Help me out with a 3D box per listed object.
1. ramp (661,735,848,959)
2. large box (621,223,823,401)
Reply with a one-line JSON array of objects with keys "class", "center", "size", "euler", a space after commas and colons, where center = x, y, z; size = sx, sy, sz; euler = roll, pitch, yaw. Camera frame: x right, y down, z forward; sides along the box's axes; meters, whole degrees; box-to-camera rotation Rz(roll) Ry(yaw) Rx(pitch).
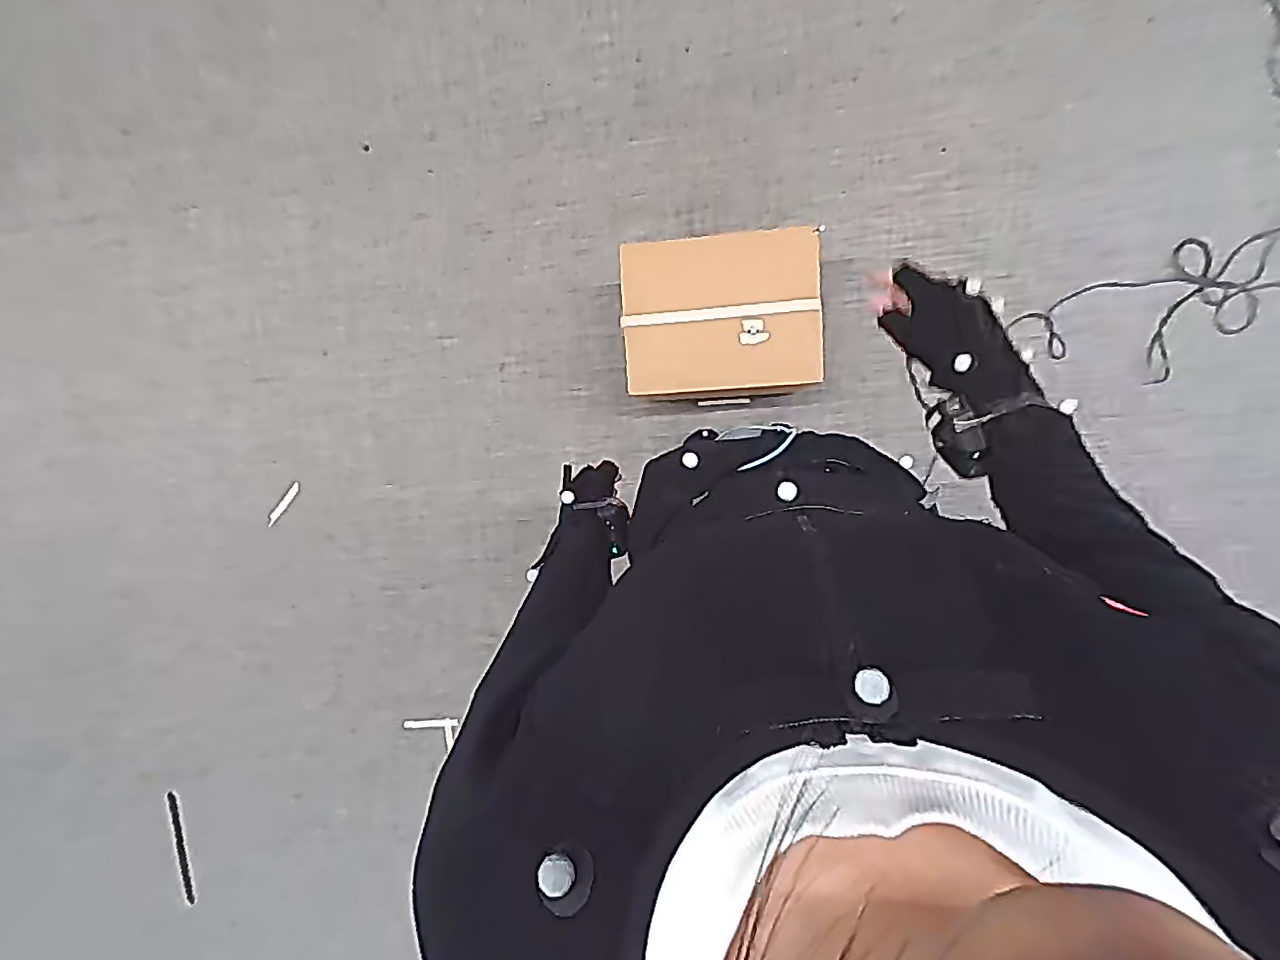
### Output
[{"class": "ramp", "center": [0.304, 1.213, 1.460], "size": [0.509, 0.206, 0.991], "euler": [-3, 95, 9]}, {"class": "large box", "center": [0.182, -0.363, 1.262], "size": [0.408, 0.320, 0.320], "euler": [-3, 96, 7]}]
